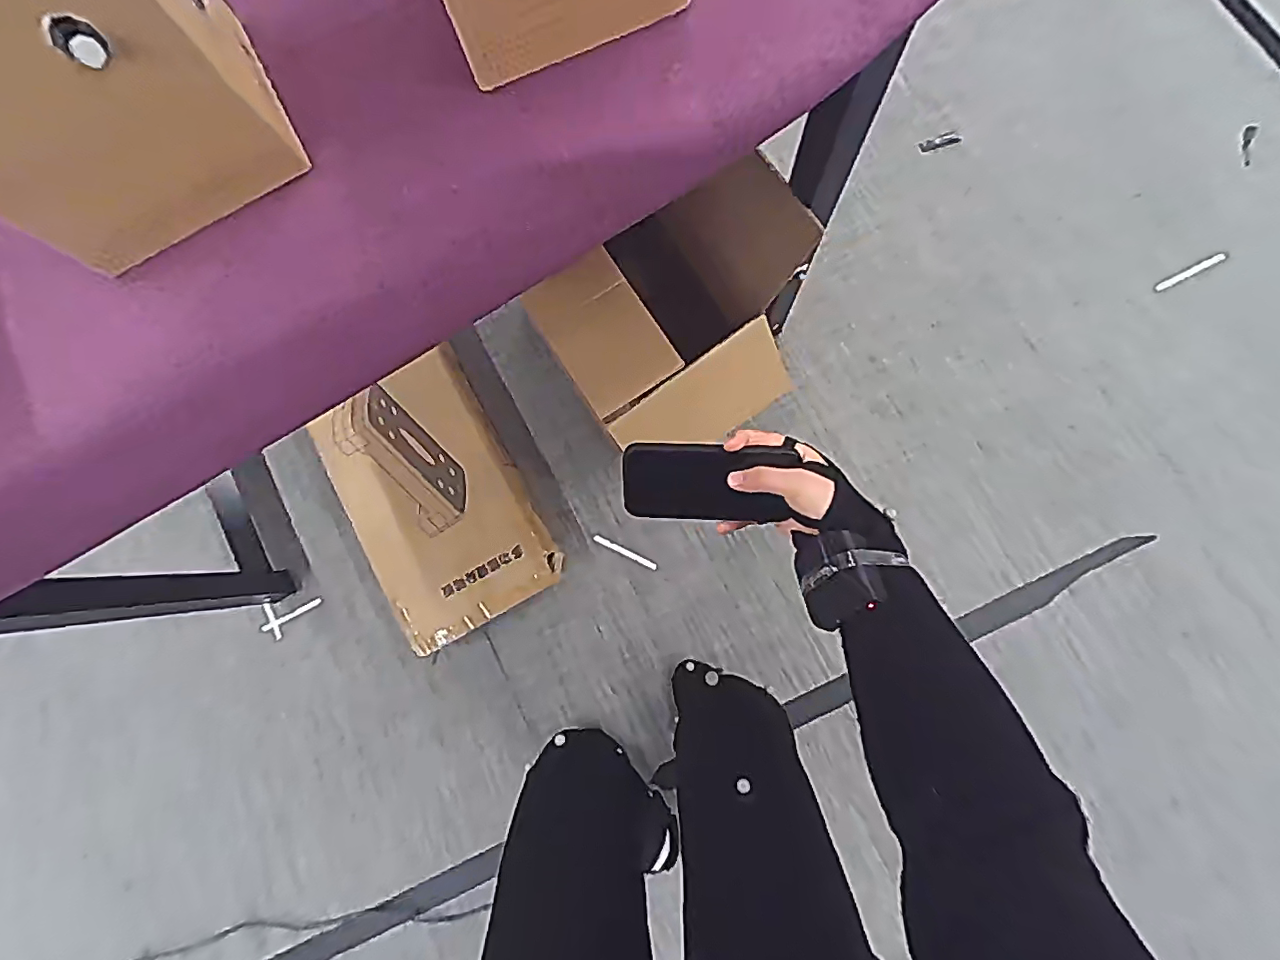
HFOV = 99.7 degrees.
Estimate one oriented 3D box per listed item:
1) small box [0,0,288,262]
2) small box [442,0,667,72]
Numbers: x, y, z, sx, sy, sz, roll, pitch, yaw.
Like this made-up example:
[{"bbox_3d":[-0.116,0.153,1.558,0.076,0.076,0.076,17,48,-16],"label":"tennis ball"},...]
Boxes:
[{"bbox_3d":[-0.367,-0.281,0.343,0.179,0.176,0.168,-30,78,-1],"label":"small box"},{"bbox_3d":[-0.079,-0.417,0.345,0.179,0.176,0.168,-23,81,0],"label":"small box"}]
